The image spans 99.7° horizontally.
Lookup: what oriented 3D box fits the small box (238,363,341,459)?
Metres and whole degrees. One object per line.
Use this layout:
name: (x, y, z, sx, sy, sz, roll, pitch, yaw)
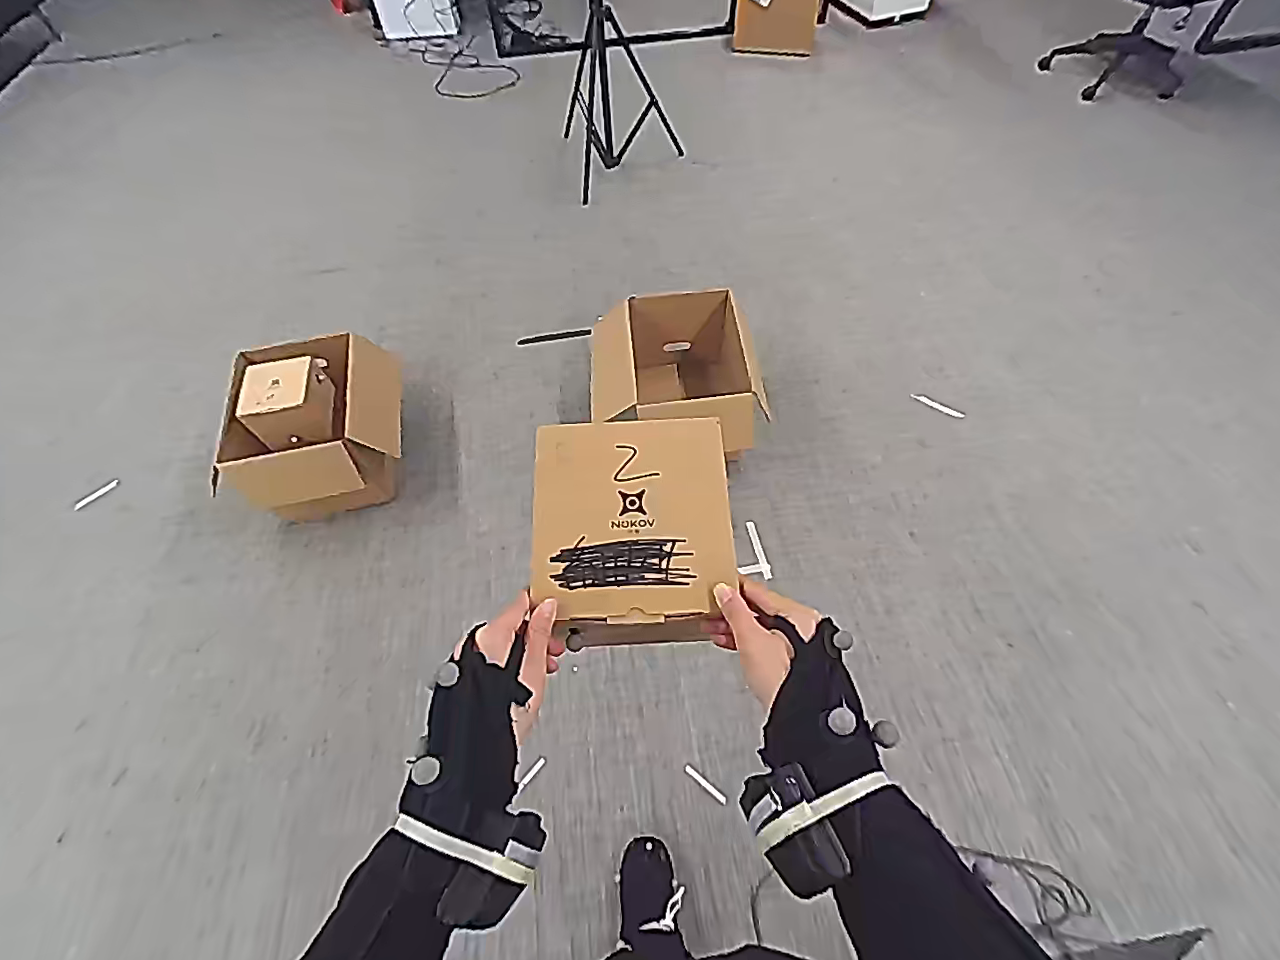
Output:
small box: (-0.931, -0.183, 1.457, 0.168, 0.176, 0.179, -11, 58, -5)
